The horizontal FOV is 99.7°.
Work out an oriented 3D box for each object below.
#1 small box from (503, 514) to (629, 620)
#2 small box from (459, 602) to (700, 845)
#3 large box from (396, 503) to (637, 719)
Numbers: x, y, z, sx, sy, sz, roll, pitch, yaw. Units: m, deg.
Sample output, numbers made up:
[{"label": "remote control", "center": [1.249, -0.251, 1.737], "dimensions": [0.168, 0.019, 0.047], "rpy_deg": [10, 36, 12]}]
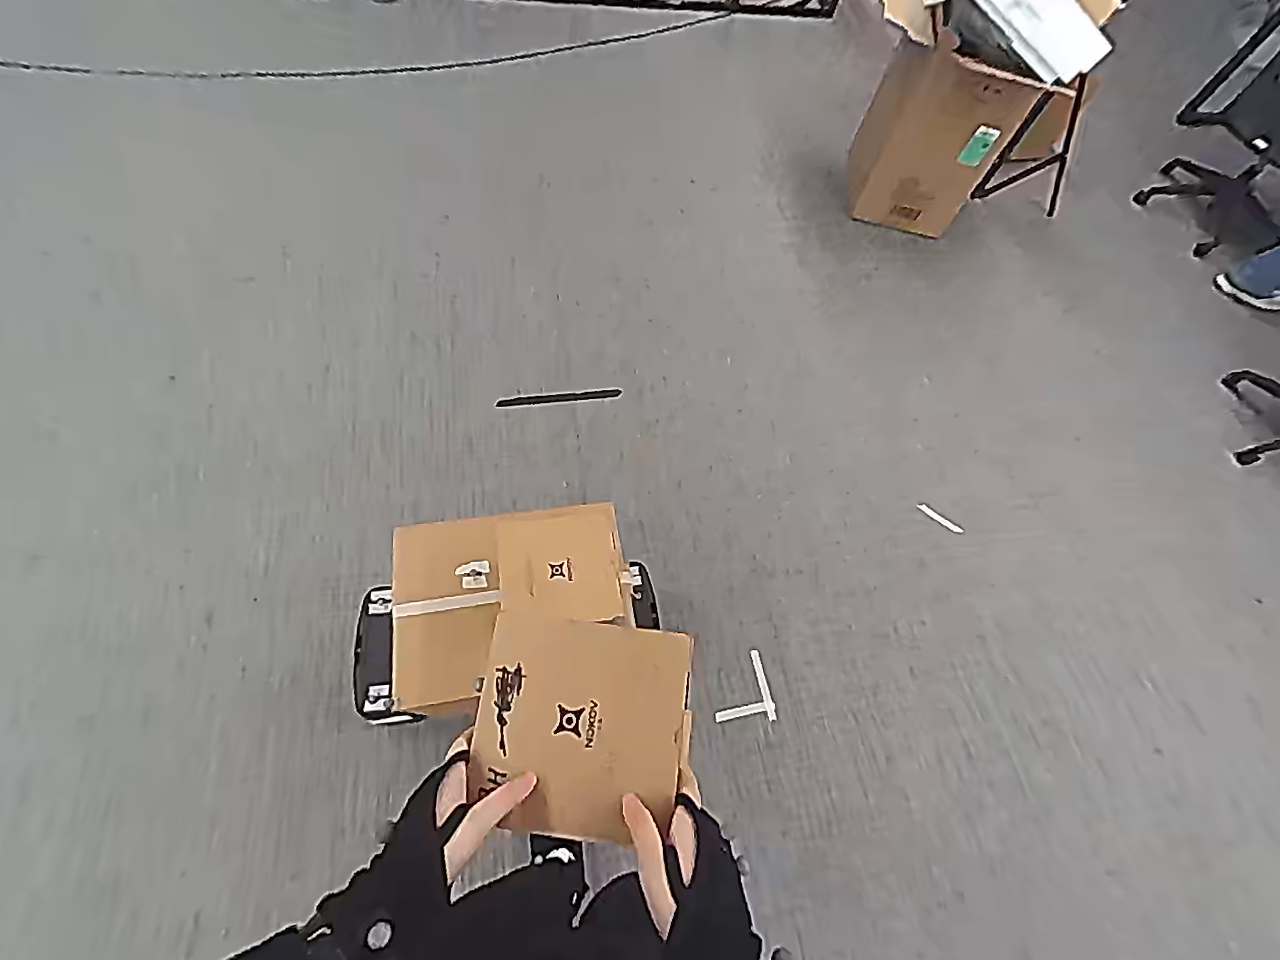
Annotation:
[{"label": "small box", "center": [-0.121, 0.164, 0.861], "dimensions": [0.179, 0.176, 0.168], "rpy_deg": [-4, 65, -9]}, {"label": "small box", "center": [-0.045, 0.220, 0.519], "dimensions": [0.179, 0.176, 0.168], "rpy_deg": [7, 70, 3]}, {"label": "large box", "center": [-0.228, 0.269, 1.071], "dimensions": [0.408, 0.320, 0.320], "rpy_deg": [-7, 64, -9]}]
